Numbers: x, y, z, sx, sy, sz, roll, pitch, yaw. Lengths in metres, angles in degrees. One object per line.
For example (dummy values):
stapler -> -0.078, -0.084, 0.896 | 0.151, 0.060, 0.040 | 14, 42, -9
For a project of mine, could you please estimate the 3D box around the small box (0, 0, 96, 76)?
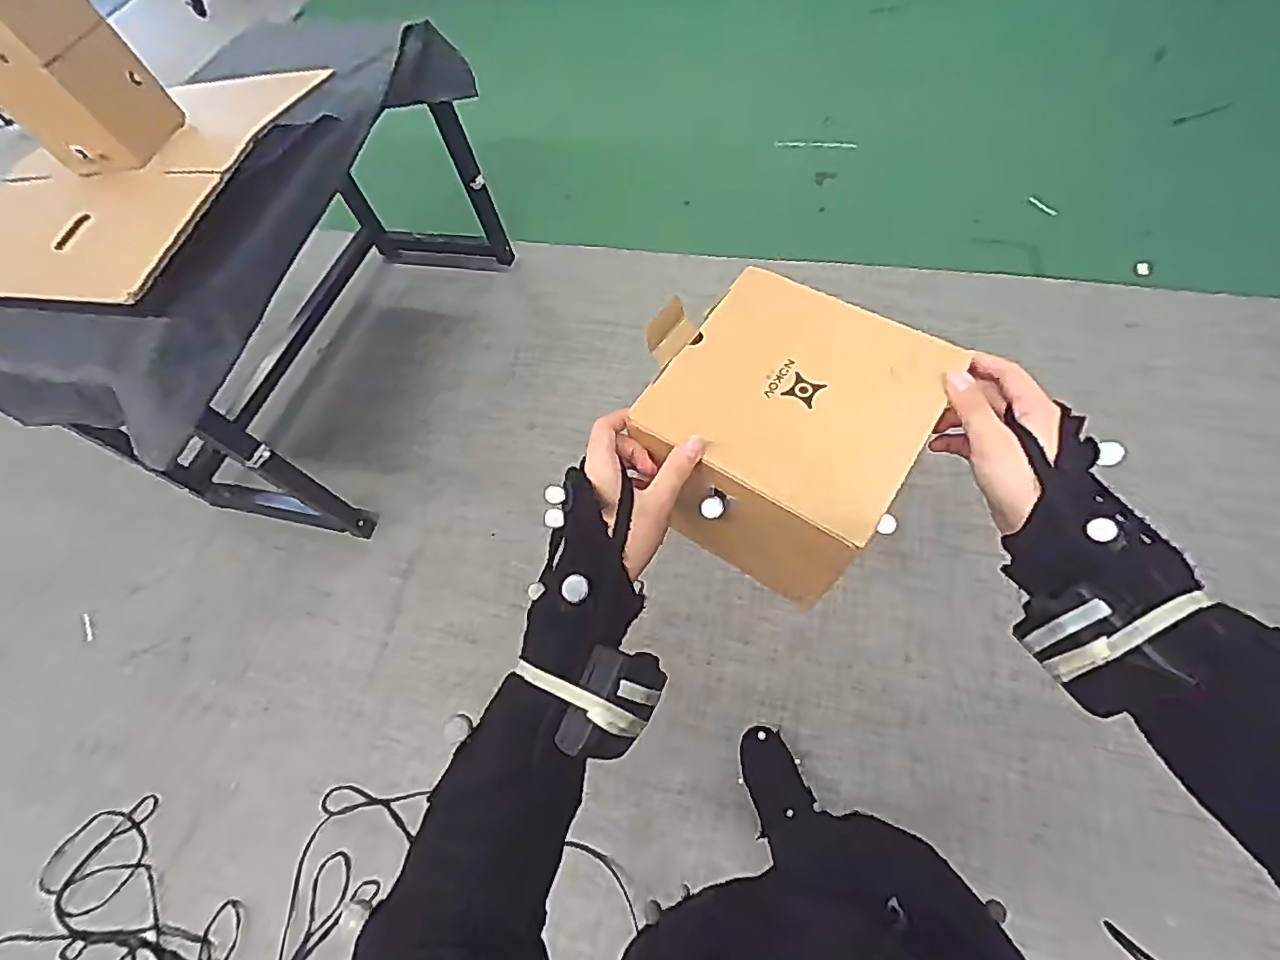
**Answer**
small box -> -1.042, -0.780, 0.860 | 0.168, 0.176, 0.179 | -1, 61, 12

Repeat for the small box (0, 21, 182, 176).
small box -> -1.011, -0.698, 1.000 | 0.168, 0.176, 0.179 | 0, 61, 12
